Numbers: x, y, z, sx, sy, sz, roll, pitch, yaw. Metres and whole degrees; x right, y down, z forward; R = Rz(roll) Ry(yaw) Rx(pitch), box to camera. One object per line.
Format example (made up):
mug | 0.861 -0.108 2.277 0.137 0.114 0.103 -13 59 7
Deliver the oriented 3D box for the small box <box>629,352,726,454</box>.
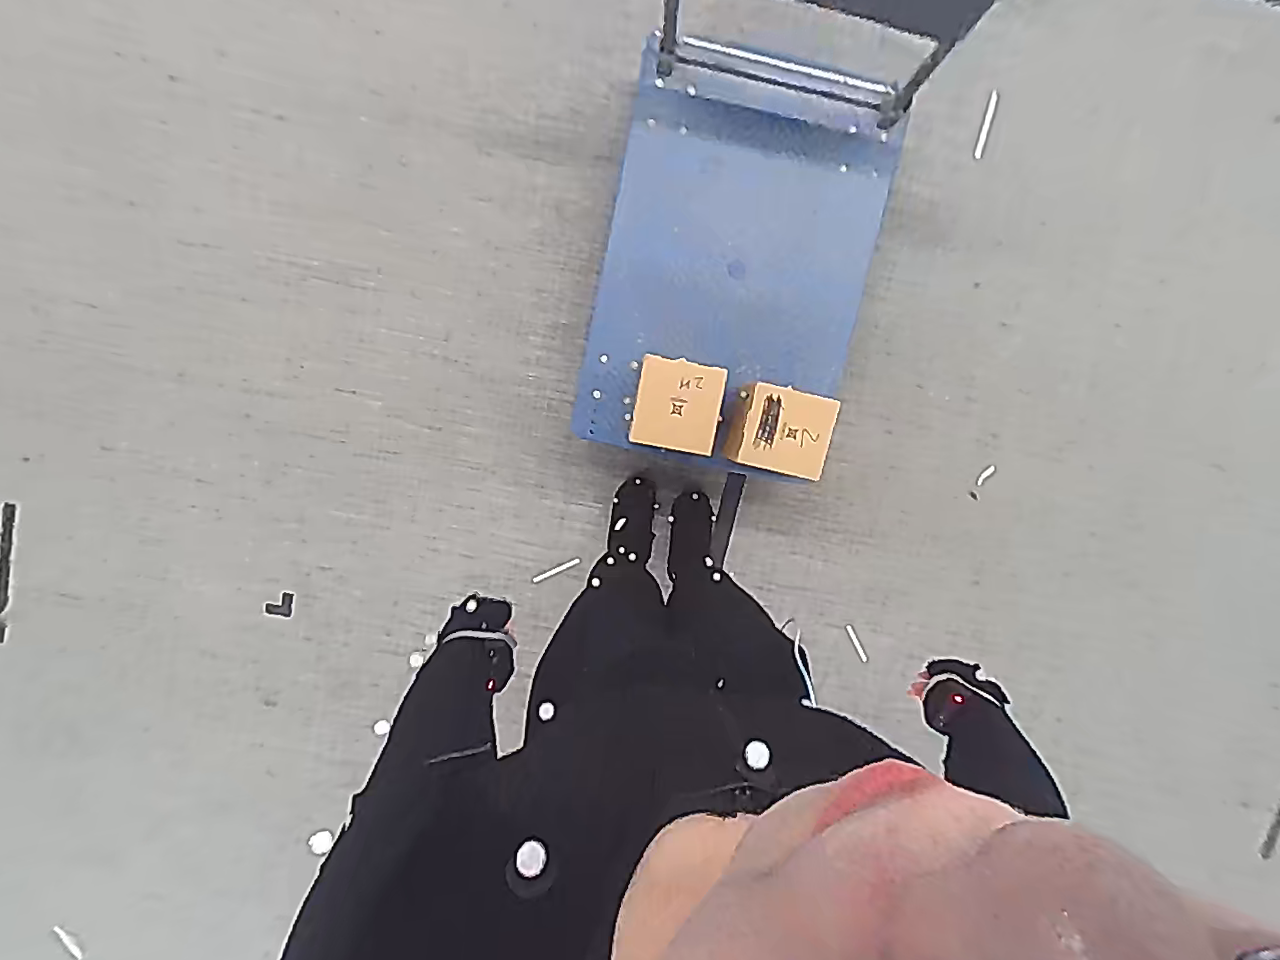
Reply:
small box | 0.073 -0.161 1.141 0.168 0.176 0.179 10 97 -3
